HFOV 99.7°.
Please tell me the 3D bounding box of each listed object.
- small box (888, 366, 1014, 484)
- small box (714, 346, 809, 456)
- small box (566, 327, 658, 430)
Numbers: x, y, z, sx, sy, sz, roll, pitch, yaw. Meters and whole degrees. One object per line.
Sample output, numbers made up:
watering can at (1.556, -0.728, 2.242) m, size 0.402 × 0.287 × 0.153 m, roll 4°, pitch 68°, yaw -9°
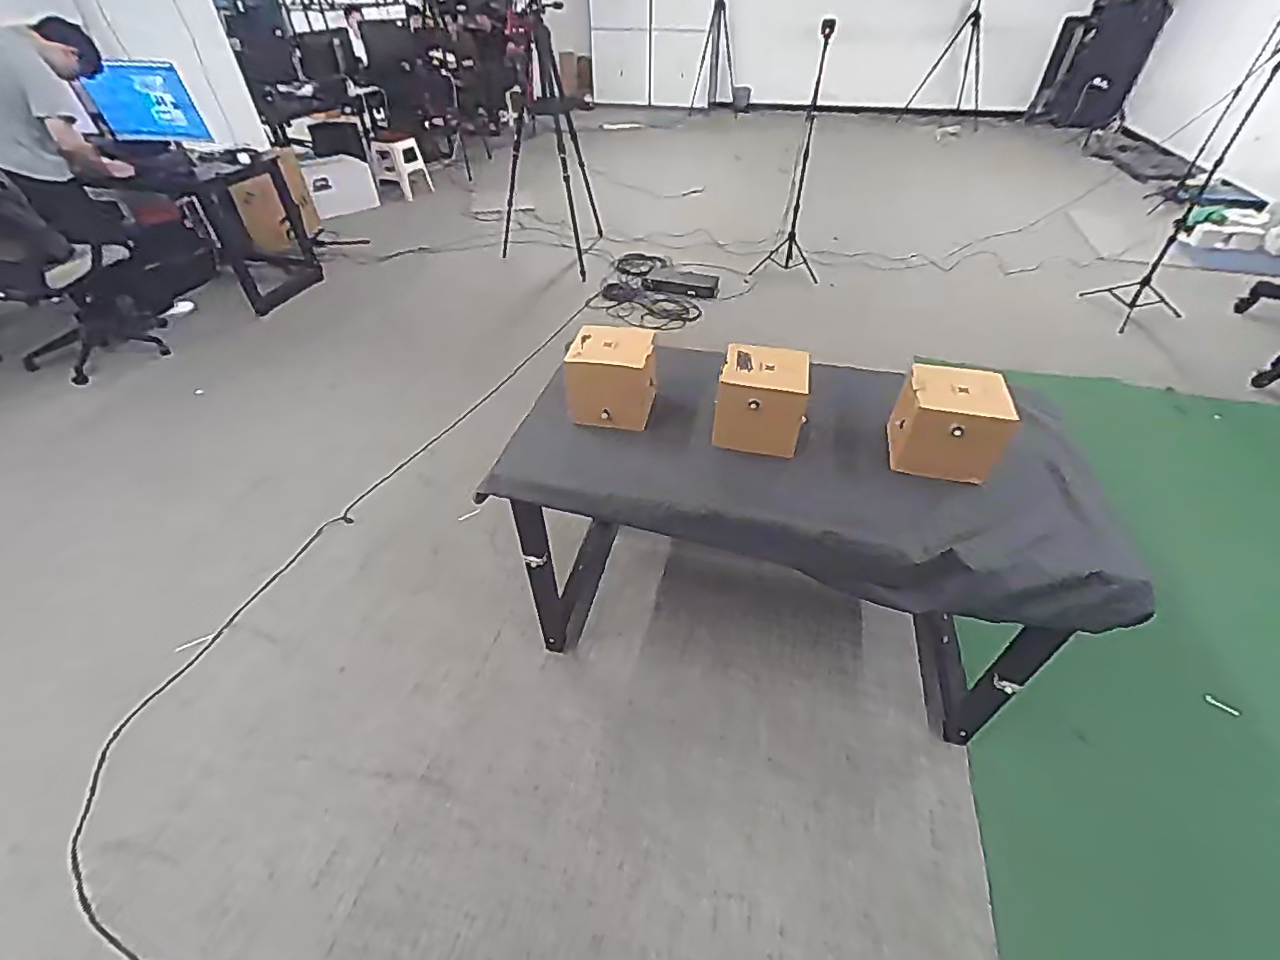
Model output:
small box at (0.627, -0.112, 1.118) m, size 0.179 × 0.176 × 0.168 m, roll 11°, pitch 45°, yaw 11°
small box at (0.262, -0.171, 1.181) m, size 0.179 × 0.176 × 0.168 m, roll 10°, pitch 44°, yaw 10°
small box at (-0.059, -0.232, 1.249) m, size 0.179 × 0.176 × 0.168 m, roll 8°, pitch 43°, yaw 8°
